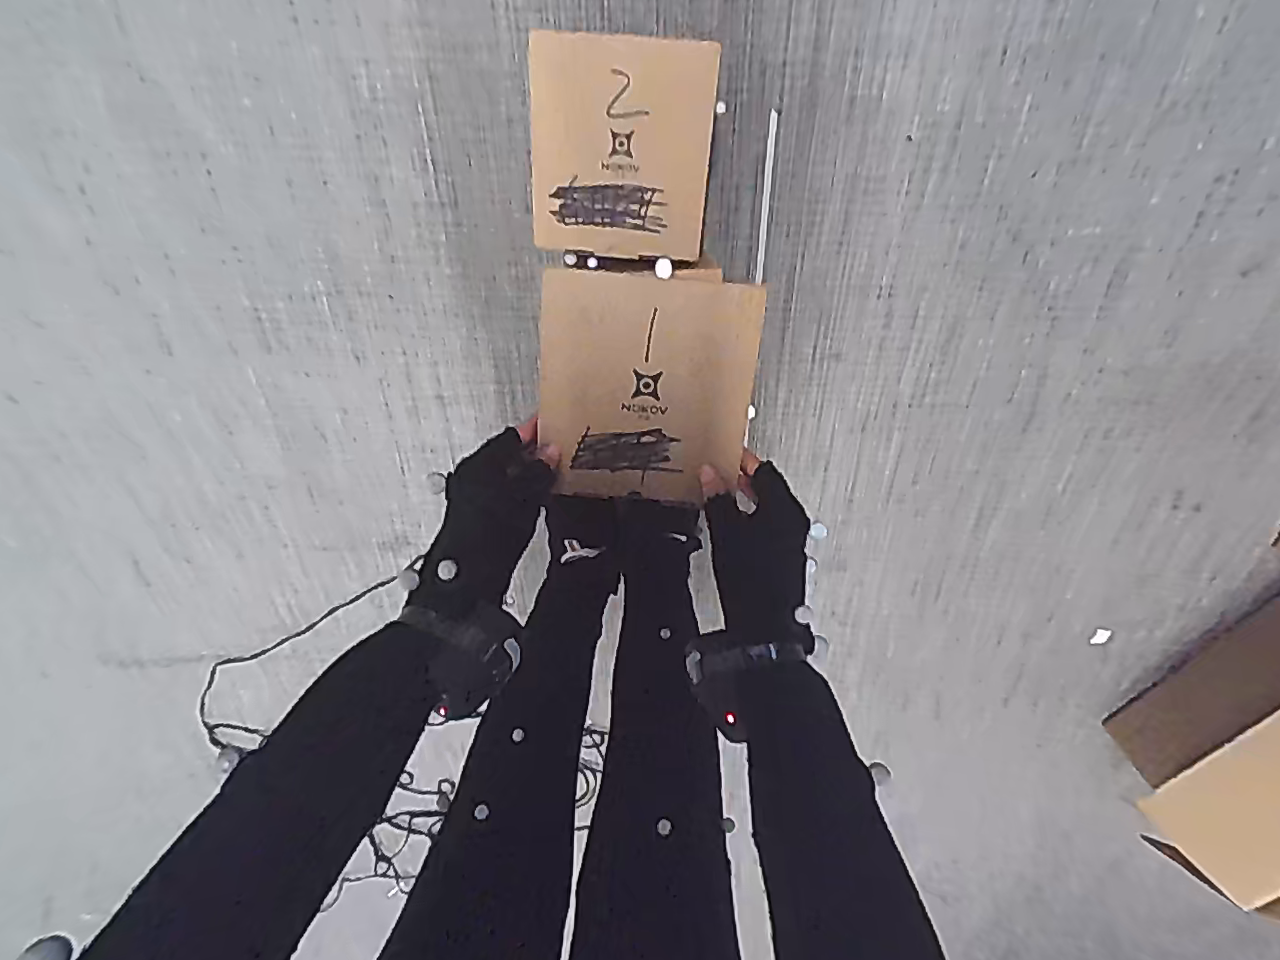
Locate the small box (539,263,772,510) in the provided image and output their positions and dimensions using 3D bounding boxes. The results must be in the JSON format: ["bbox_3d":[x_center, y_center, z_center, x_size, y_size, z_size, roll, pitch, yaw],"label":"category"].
[{"bbox_3d":[0.010,-0.090,0.490,0.168,0.176,0.179,6,107,0],"label":"small box"}]
